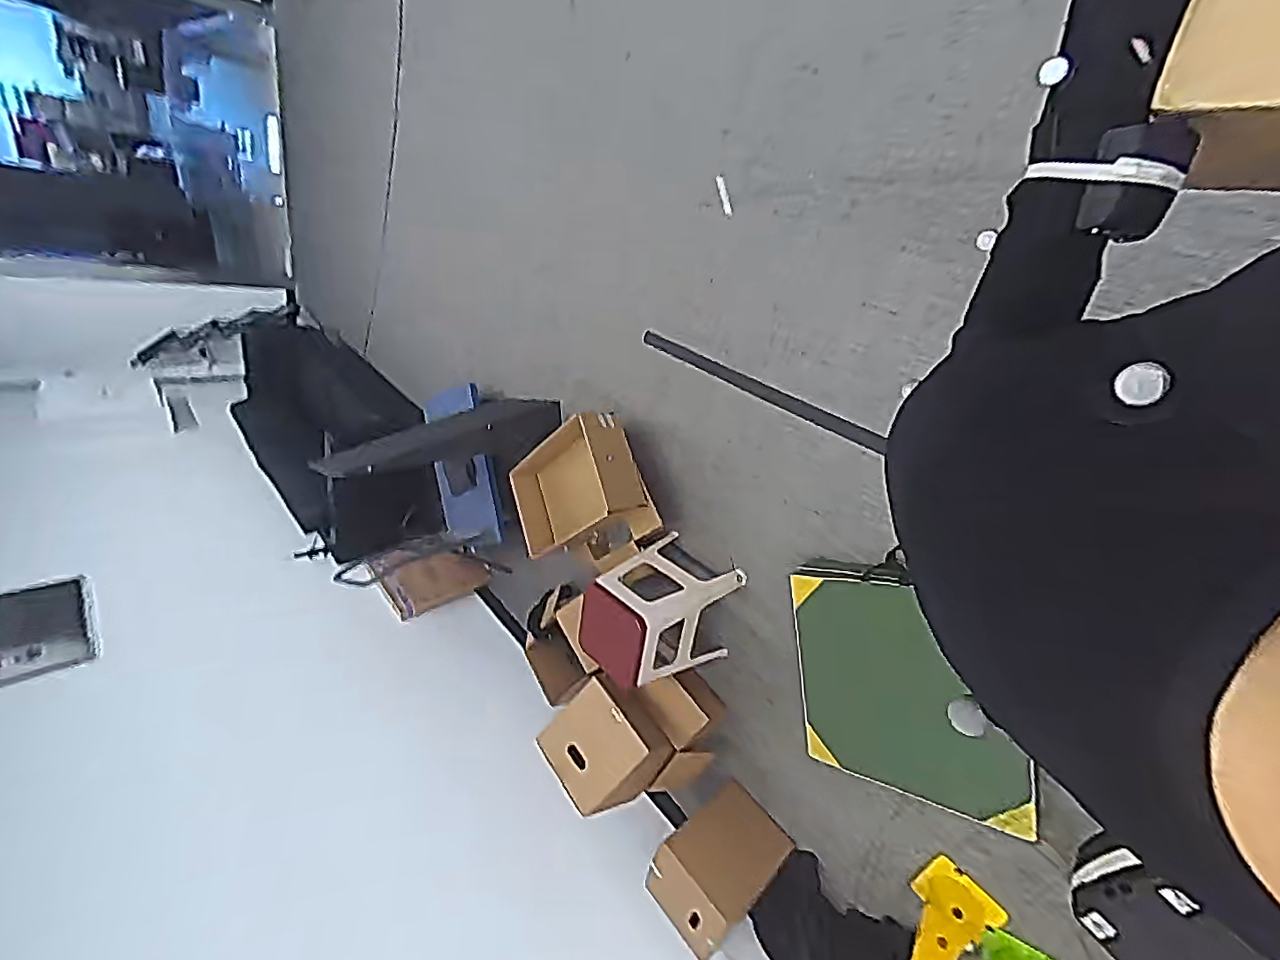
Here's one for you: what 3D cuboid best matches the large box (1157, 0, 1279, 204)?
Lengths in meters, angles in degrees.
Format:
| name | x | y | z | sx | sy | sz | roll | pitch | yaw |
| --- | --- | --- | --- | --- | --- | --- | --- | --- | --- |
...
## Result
| name | x | y | z | sx | sy | sz | roll | pitch | yaw |
| --- | --- | --- | --- | --- | --- | --- | --- | --- | --- |
| large box | 0.598 | -0.336 | 0.284 | 0.408 | 0.320 | 0.320 | 26 | 120 | 37 |
